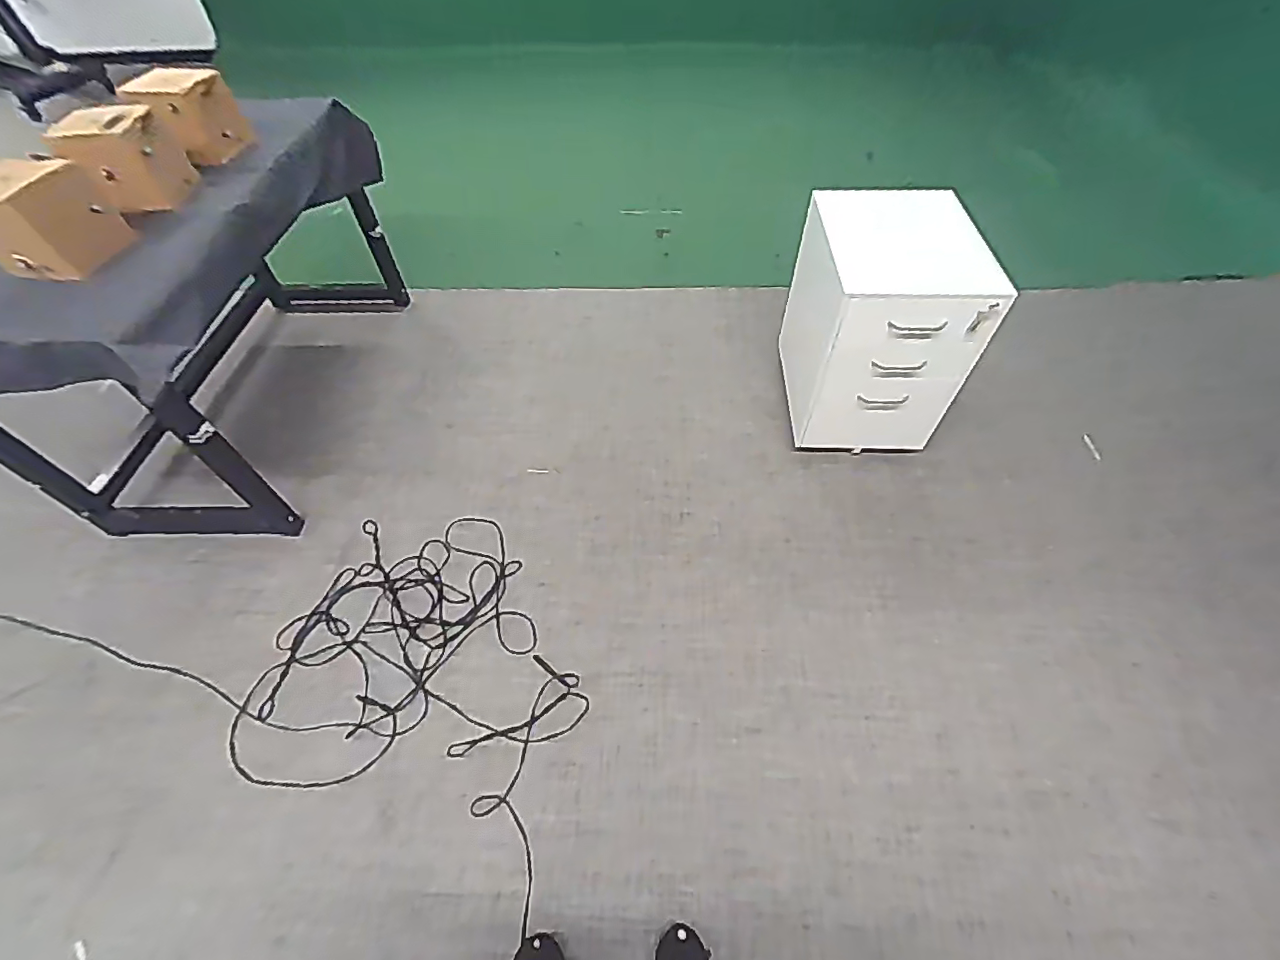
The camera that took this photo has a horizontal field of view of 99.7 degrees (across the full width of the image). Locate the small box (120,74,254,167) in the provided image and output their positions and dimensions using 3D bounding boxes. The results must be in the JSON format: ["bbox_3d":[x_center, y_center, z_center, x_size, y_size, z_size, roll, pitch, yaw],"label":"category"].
[{"bbox_3d":[-1.192,-0.955,1.440,0.179,0.176,0.168,5,53,5],"label":"small box"}]

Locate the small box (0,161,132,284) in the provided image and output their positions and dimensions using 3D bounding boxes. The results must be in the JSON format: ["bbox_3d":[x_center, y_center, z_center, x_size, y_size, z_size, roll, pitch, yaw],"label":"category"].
[{"bbox_3d":[-1.219,-0.529,1.112,0.168,0.176,0.179,3,53,6],"label":"small box"}]
